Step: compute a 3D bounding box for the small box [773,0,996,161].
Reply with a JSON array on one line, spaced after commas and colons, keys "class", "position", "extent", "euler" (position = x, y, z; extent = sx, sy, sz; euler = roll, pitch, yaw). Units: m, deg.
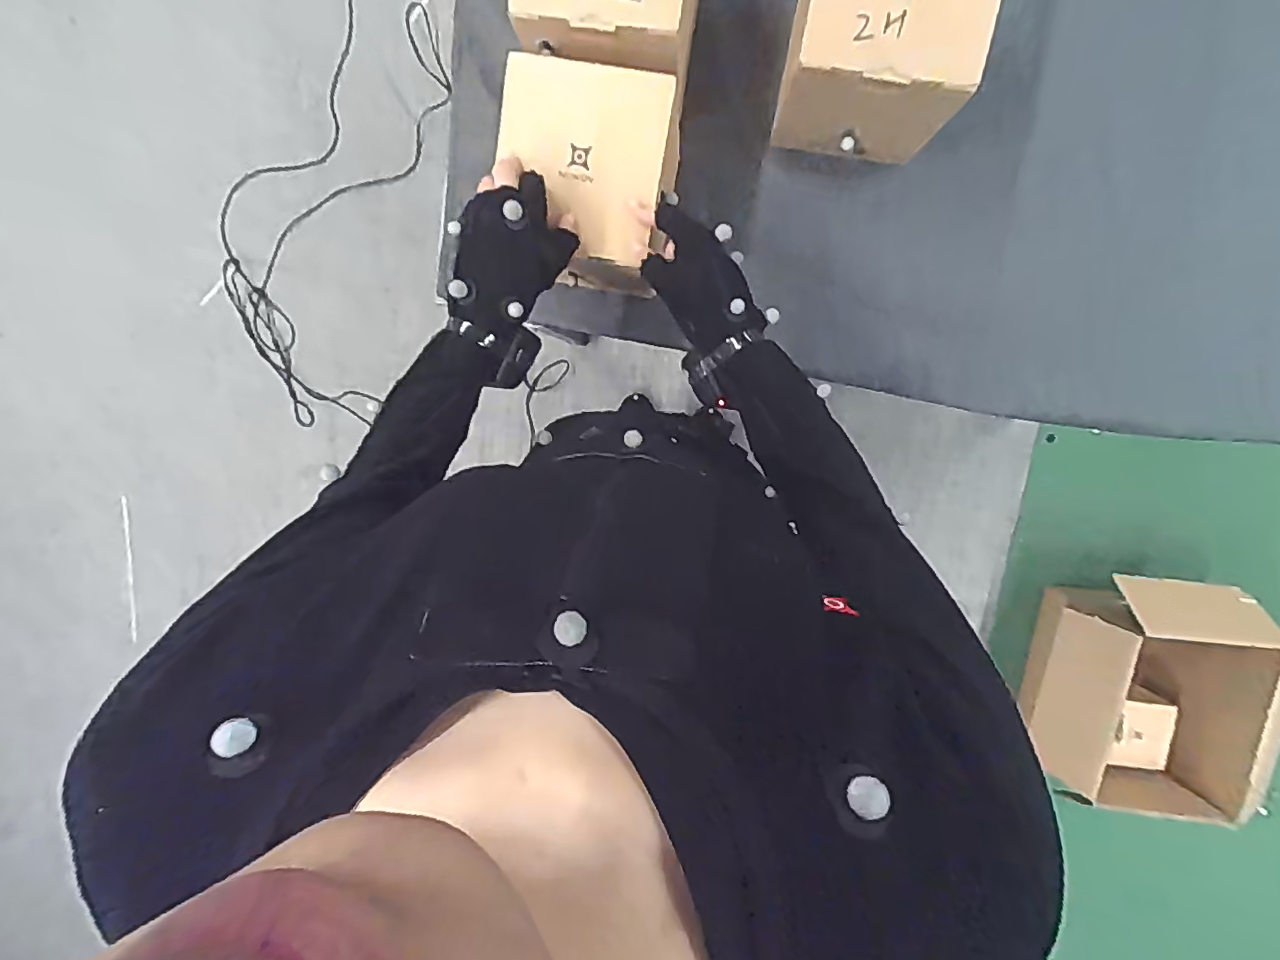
[{"class": "small box", "position": [0.245, -0.469, 0.560], "extent": [0.168, 0.176, 0.179], "euler": [11, 100, 3]}]

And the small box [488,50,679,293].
[{"class": "small box", "position": [-0.054, -0.325, 0.606], "extent": [0.168, 0.176, 0.179], "euler": [10, 100, 2]}]
